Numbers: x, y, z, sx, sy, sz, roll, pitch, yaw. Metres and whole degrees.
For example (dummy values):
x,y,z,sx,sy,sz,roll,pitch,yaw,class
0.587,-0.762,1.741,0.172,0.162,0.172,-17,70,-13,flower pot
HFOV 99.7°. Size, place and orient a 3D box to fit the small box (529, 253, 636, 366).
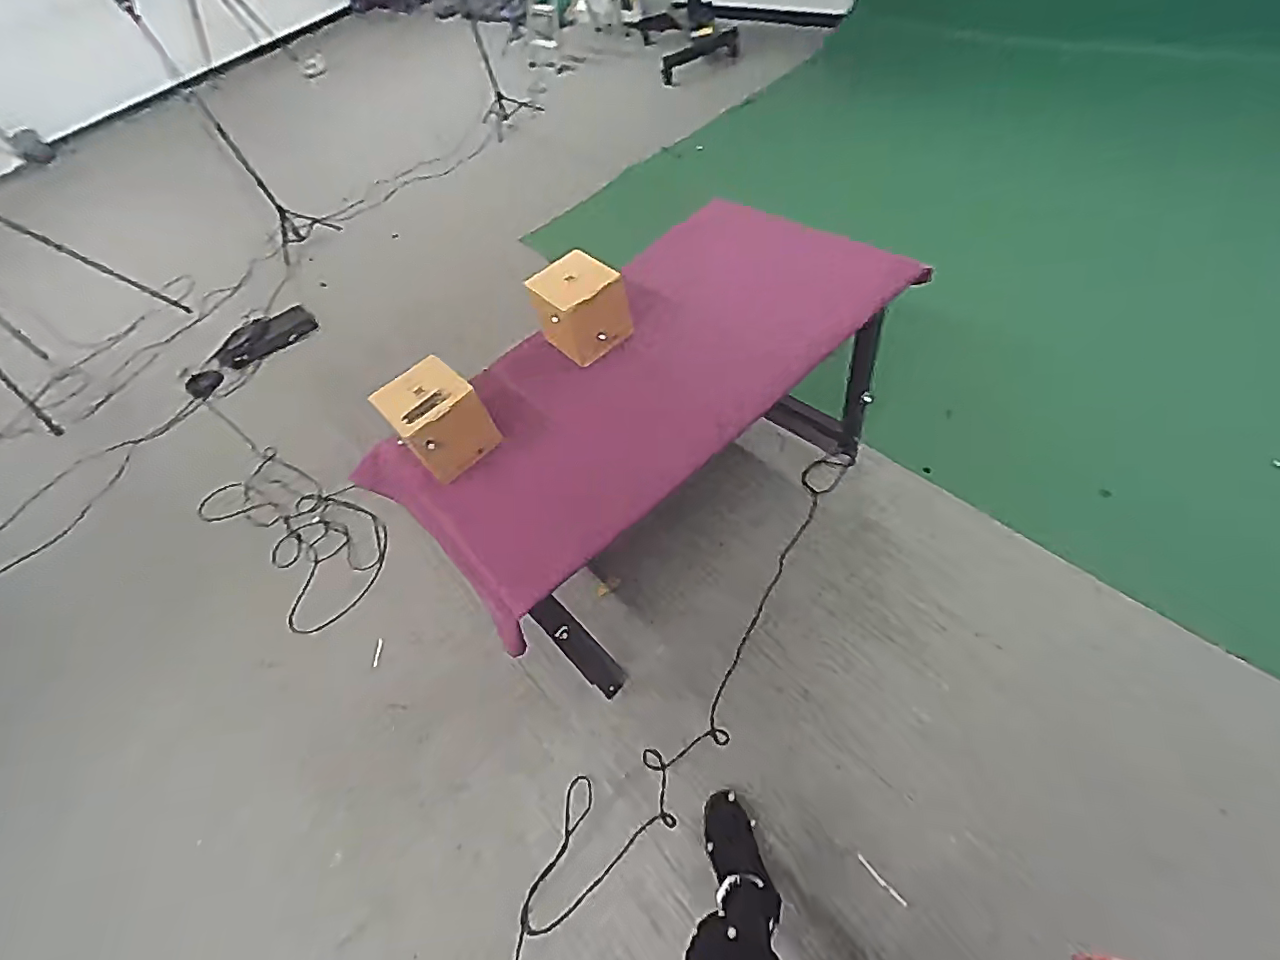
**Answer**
x,y,z,sx,sy,sz,roll,pitch,yaw,class
-0.133,-0.406,1.299,0.168,0.176,0.179,-39,57,-16,small box
